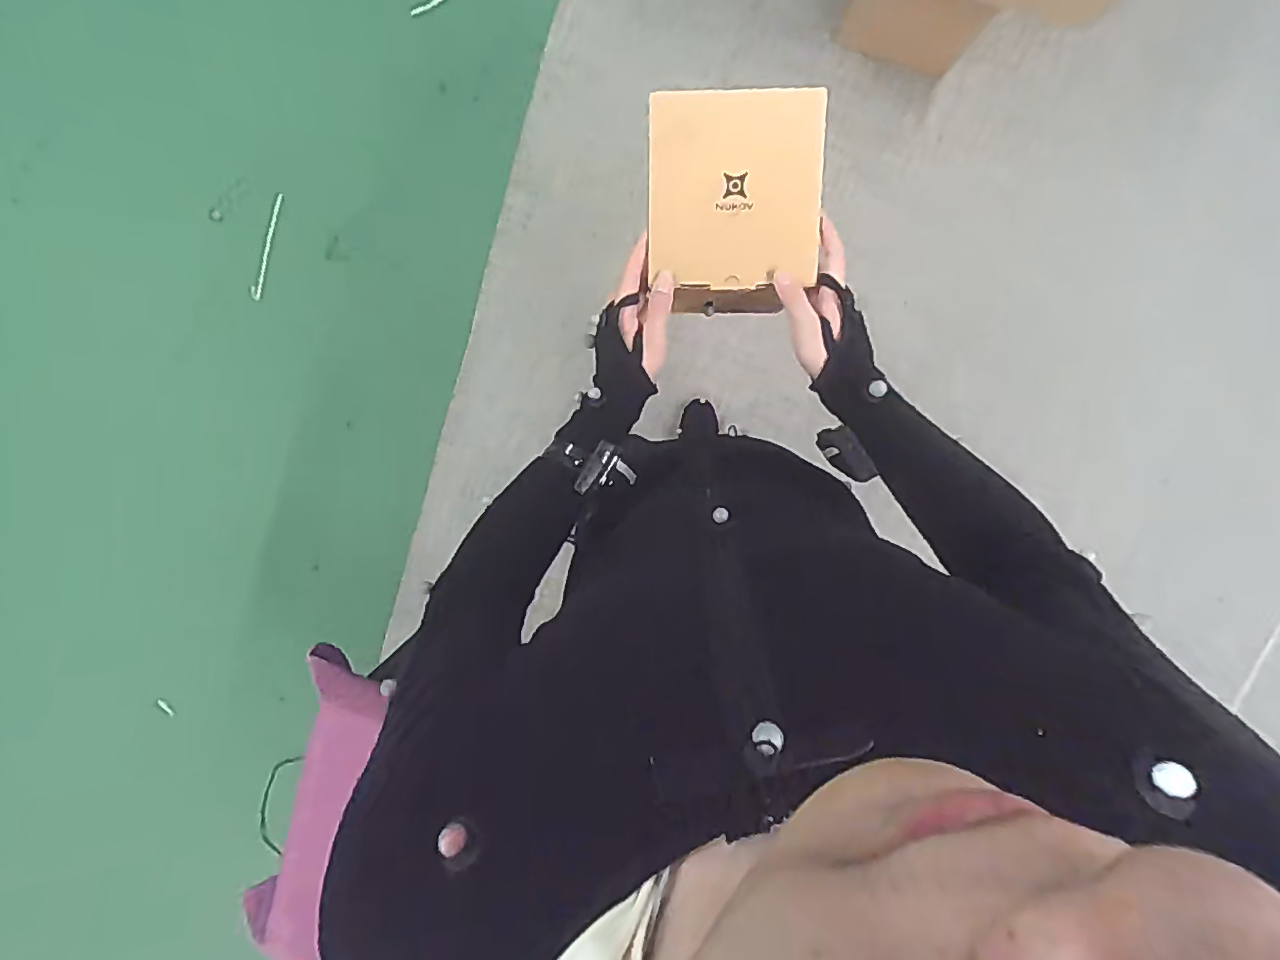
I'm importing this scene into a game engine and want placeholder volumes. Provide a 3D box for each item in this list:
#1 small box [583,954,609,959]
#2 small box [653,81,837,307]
[{"bbox_3d":[-0.057,1.009,0.961,0.168,0.176,0.179,17,100,2],"label":"small box"},{"bbox_3d":[0.099,-0.292,0.587,0.168,0.176,0.179,1,101,1],"label":"small box"}]
